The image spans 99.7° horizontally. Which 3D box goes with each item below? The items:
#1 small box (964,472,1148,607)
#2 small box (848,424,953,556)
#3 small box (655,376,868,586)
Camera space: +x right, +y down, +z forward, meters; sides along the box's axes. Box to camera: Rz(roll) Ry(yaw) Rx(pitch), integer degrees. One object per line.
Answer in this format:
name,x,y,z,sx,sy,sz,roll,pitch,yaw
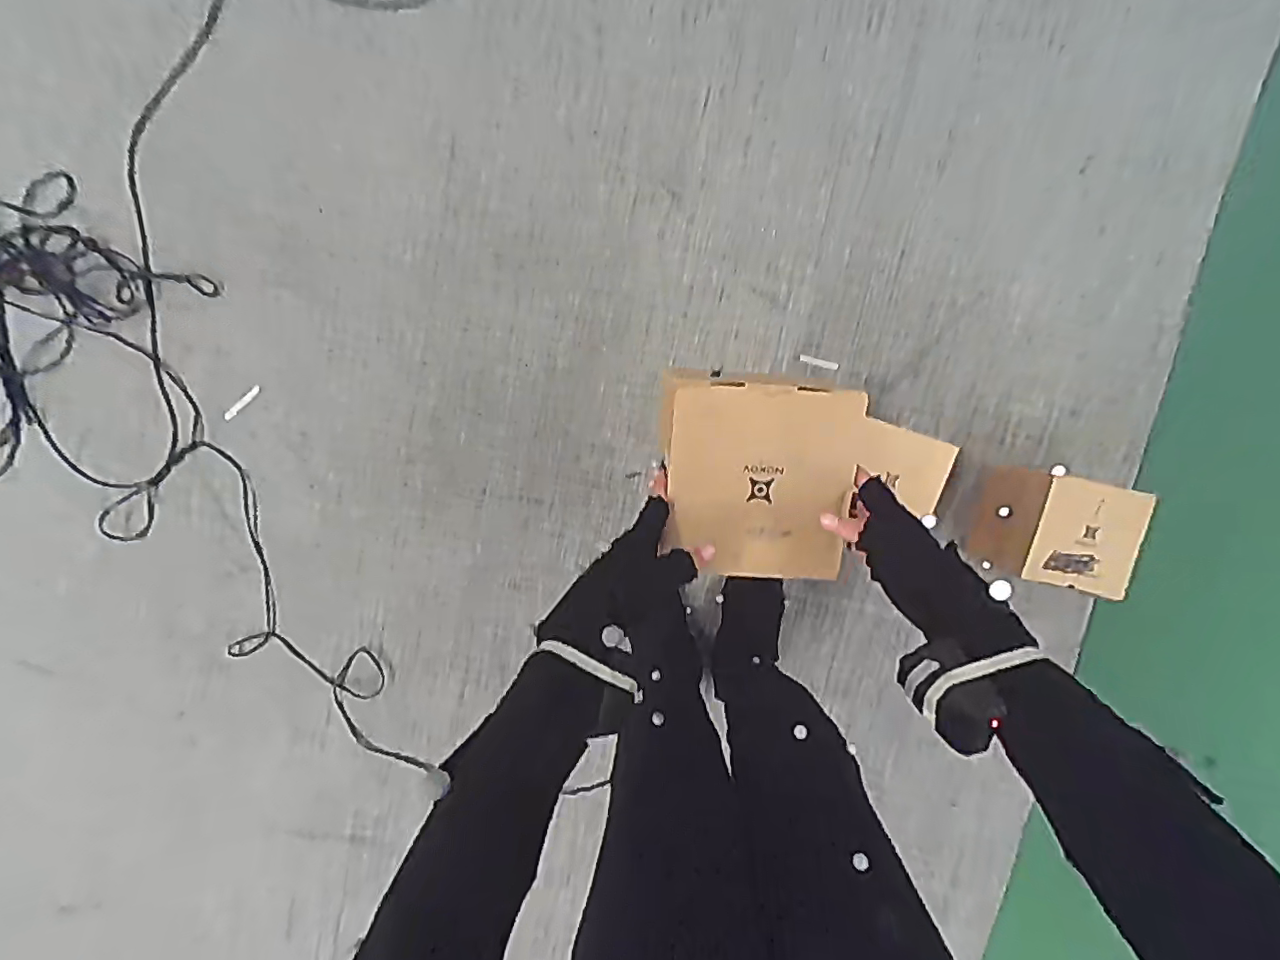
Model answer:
small box,0.699,0.093,0.935,0.168,0.176,0.179,13,96,0
small box,0.392,0.007,0.935,0.168,0.176,0.179,18,97,0
small box,0.104,-0.010,0.549,0.168,0.176,0.179,3,105,-2
